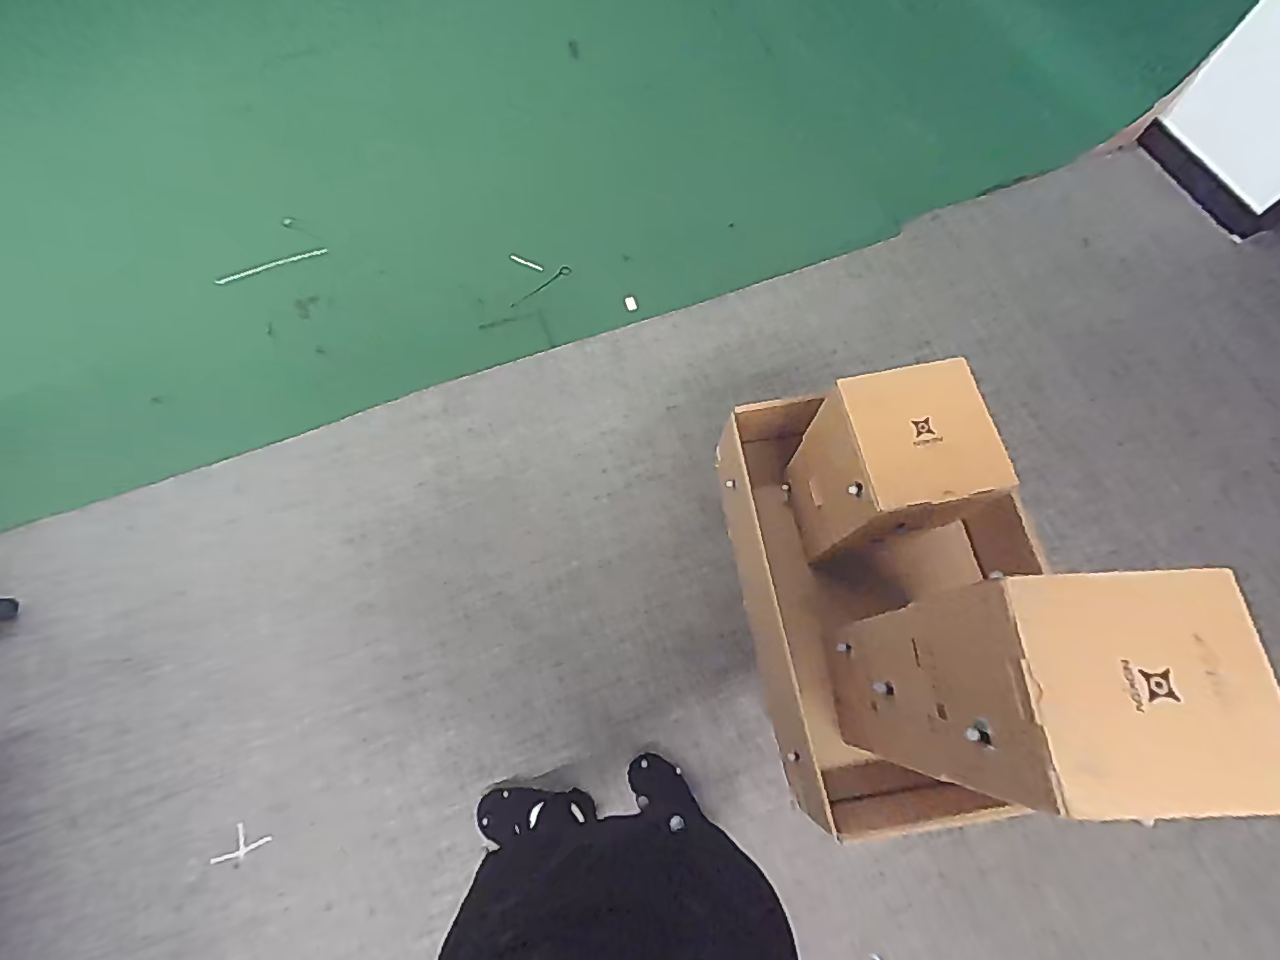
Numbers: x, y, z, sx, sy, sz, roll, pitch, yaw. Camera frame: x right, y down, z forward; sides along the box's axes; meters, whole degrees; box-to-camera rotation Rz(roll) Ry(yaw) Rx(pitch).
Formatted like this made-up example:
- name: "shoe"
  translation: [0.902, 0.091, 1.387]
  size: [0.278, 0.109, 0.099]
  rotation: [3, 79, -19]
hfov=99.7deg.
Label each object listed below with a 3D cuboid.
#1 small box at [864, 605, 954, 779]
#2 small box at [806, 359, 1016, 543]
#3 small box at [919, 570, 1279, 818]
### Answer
- name: "small box"
  translation: [0.371, 0.232, 0.612]
  size: [0.179, 0.176, 0.168]
  rotation: [-4, 70, 2]
- name: "small box"
  translation: [0.335, -0.030, 0.713]
  size: [0.168, 0.176, 0.179]
  rotation: [-11, 71, -1]
- name: "small box"
  translation: [0.362, 0.175, 0.459]
  size: [0.179, 0.176, 0.168]
  rotation: [-2, 70, 1]
